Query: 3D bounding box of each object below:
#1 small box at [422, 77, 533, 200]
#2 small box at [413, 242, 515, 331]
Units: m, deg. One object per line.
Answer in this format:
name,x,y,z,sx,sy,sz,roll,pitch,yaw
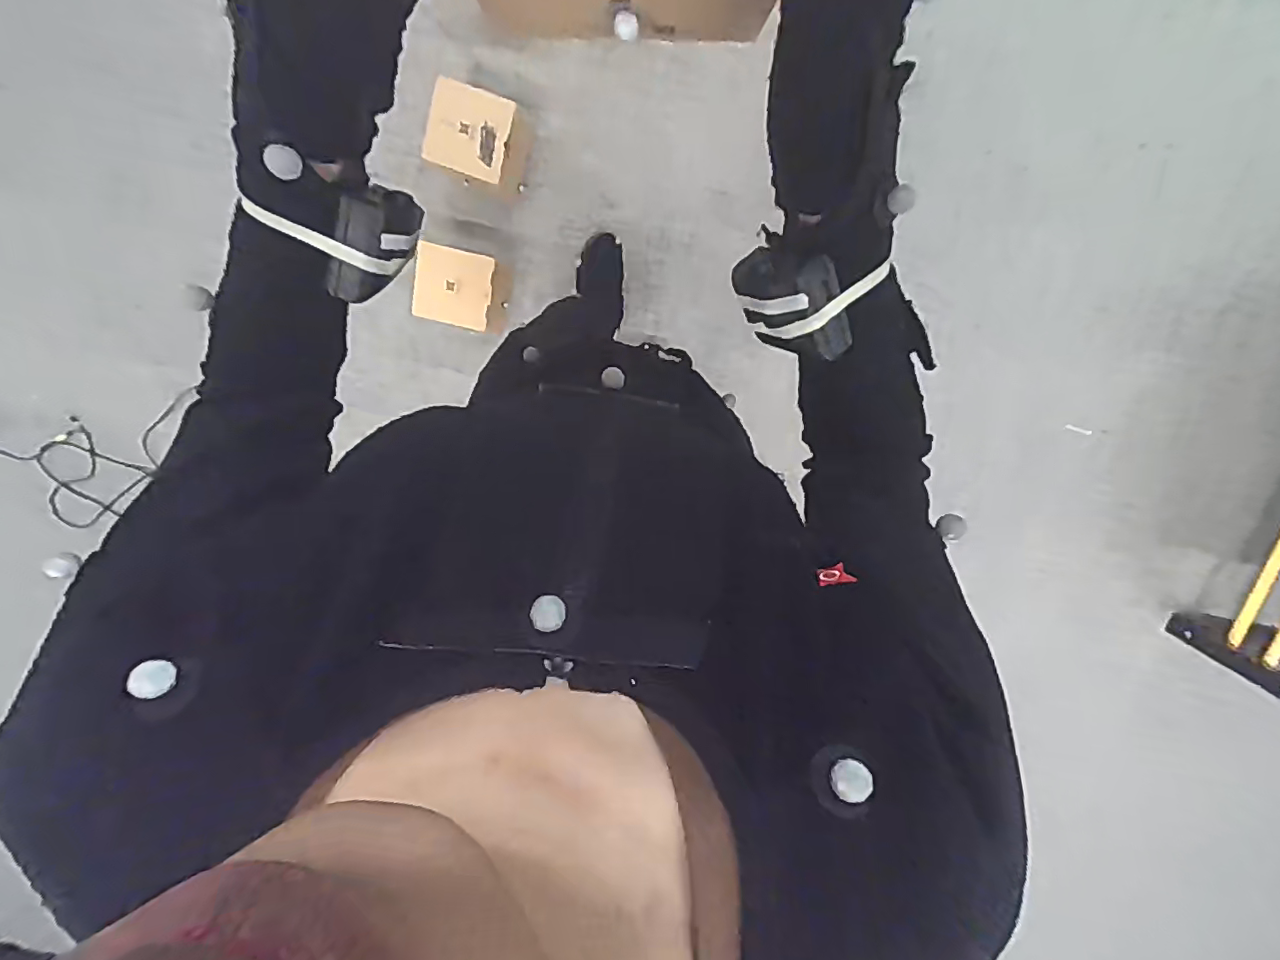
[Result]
small box,-0.355,-0.753,1.216,0.179,0.176,0.168,19,105,-1
small box,-0.416,-0.456,1.299,0.179,0.176,0.168,12,105,-1
